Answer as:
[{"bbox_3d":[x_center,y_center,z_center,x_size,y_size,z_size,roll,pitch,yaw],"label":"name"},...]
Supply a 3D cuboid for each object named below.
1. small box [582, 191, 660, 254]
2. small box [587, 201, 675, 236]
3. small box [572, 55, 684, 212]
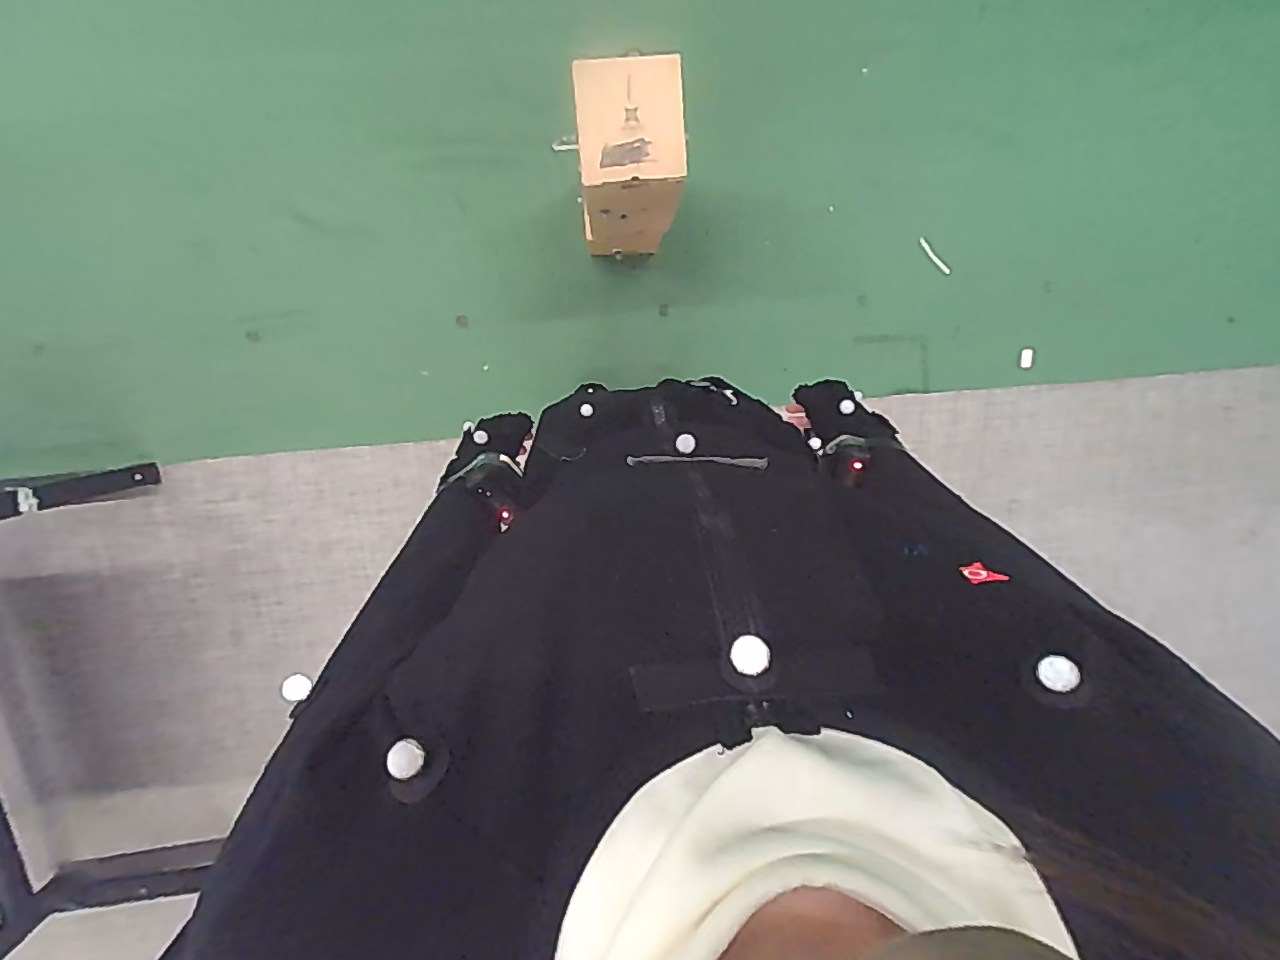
[{"bbox_3d":[-0.044,-0.616,1.207,0.168,0.176,0.179,-2,101,-1],"label":"small box"},{"bbox_3d":[-0.026,-0.595,1.065,0.168,0.176,0.179,-5,100,-2],"label":"small box"},{"bbox_3d":[-0.019,-0.562,0.903,0.168,0.176,0.179,-5,100,-2],"label":"small box"}]
